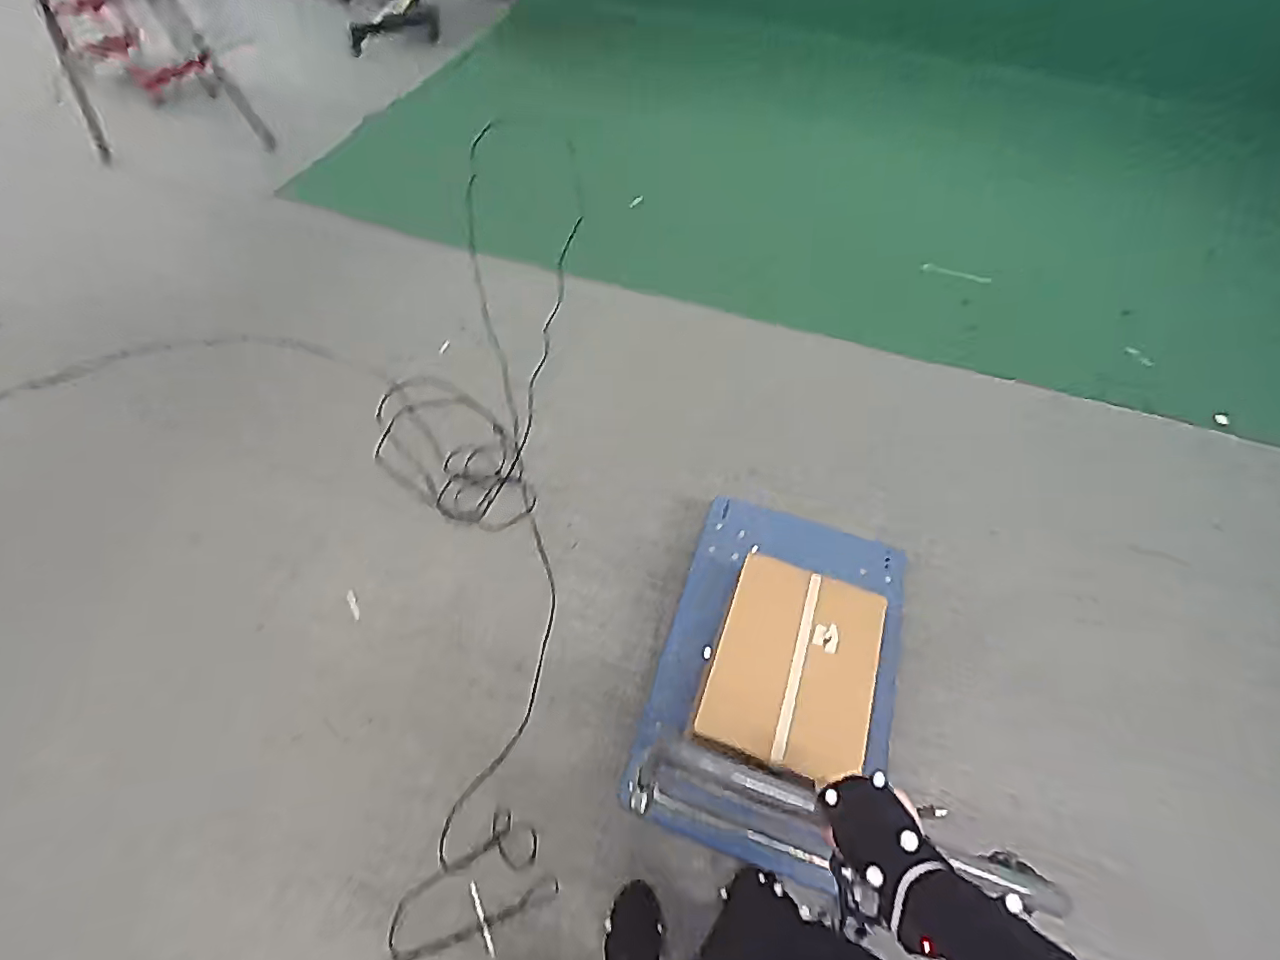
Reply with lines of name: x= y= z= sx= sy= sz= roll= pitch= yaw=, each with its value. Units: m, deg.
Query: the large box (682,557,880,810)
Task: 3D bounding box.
large box: x=0.304 y=0.455 z=1.205 sx=0.320 sy=0.320 sz=0.408 roll=19 pitch=57 yaw=10
